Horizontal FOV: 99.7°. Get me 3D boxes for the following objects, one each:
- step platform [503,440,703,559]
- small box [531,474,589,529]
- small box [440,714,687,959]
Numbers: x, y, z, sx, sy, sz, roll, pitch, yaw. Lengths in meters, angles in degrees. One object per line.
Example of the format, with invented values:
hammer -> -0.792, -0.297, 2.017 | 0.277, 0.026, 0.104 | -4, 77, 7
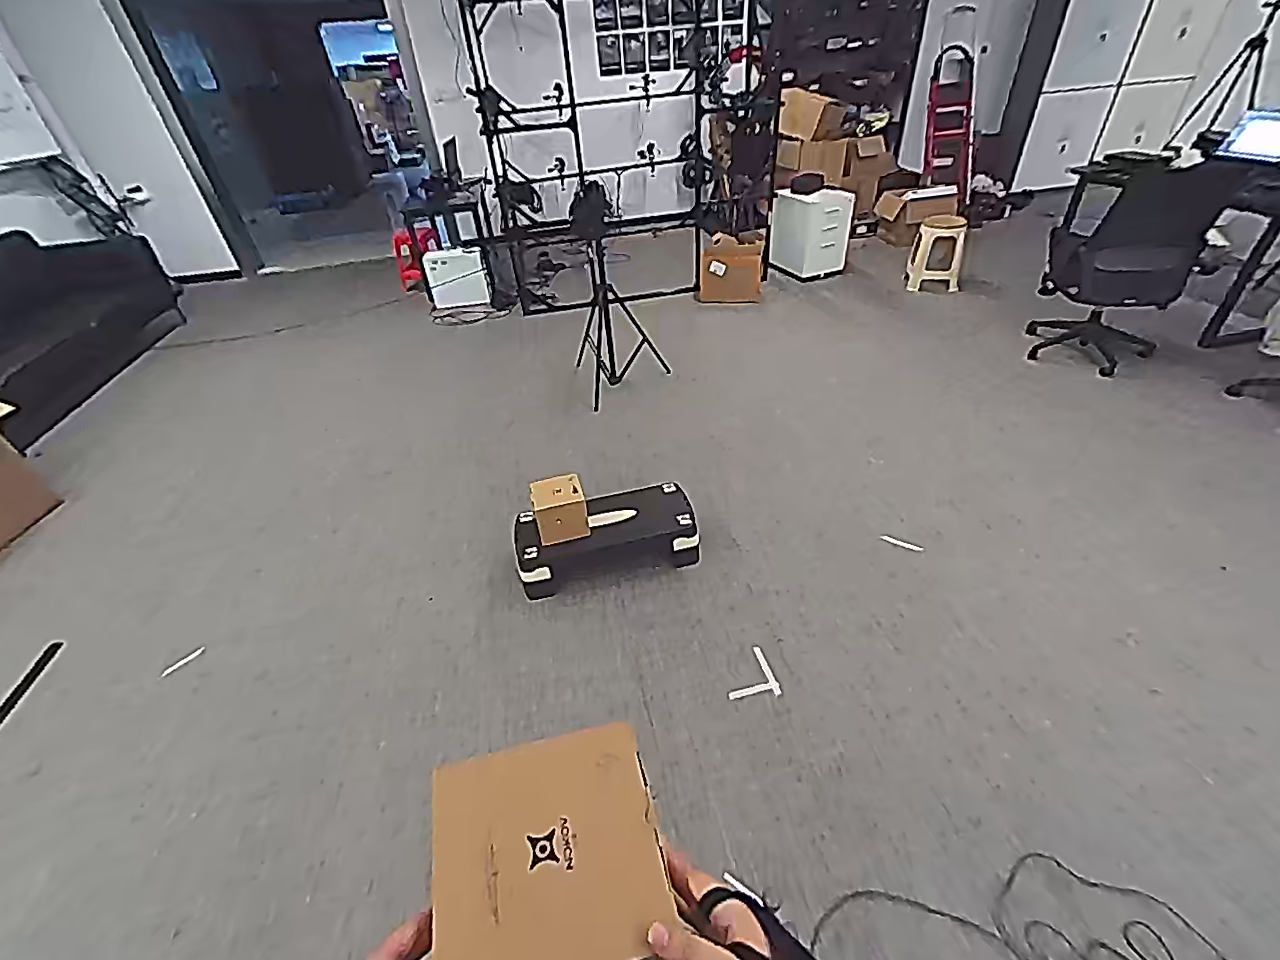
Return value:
step platform -> -0.126, 0.067, 1.922 | 0.684, 0.204, 0.286 | -11, 38, -8
small box -> -0.286, 0.107, 1.949 | 0.179, 0.176, 0.168 | -13, 39, -10
small box -> -0.069, 0.342, 0.486 | 0.179, 0.176, 0.168 | -11, 45, -10
